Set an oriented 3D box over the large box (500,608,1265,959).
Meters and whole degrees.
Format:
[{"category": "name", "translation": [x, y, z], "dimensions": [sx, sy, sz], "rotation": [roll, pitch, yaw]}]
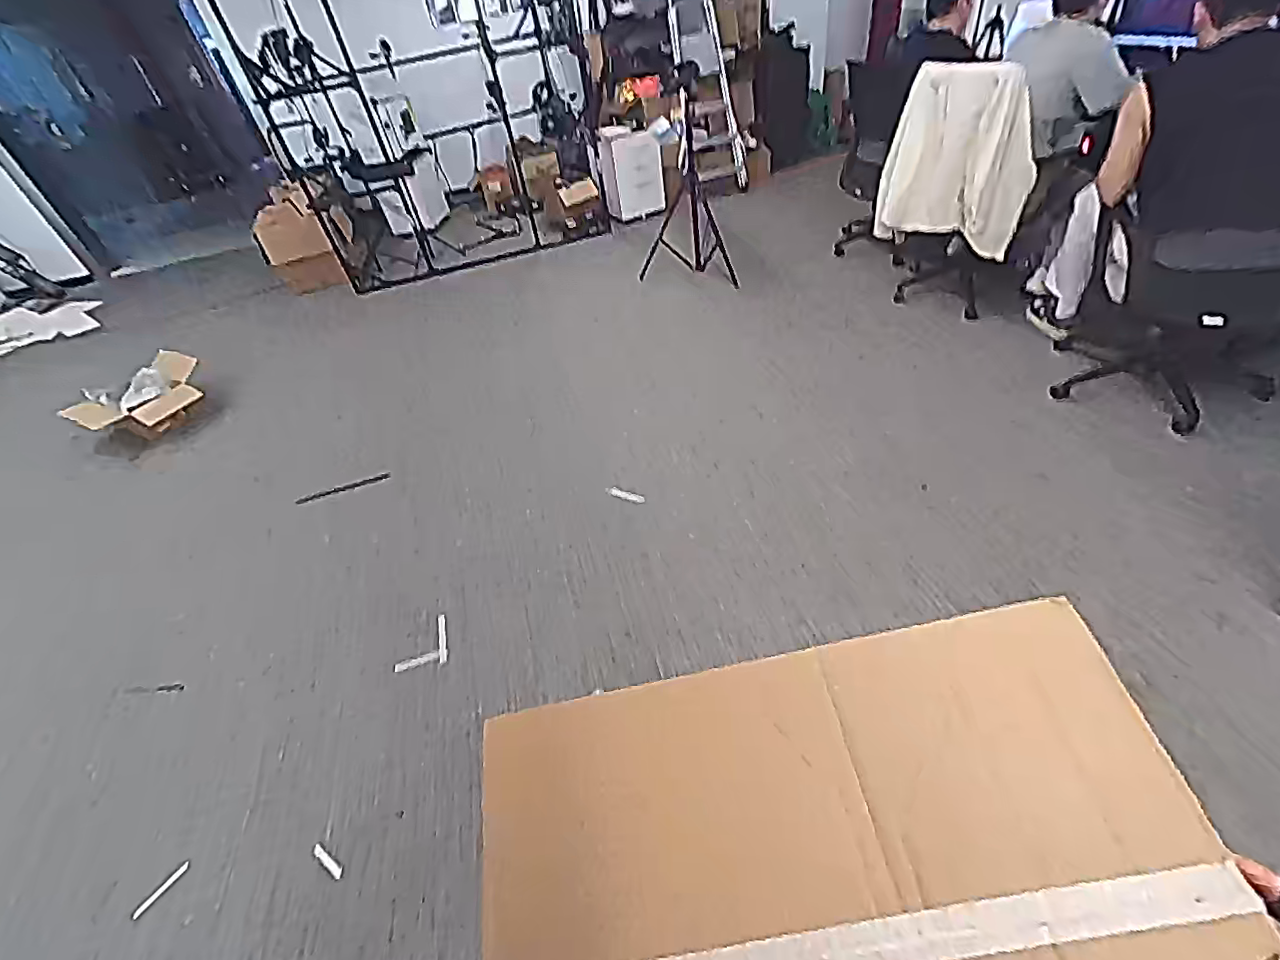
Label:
[{"category": "large box", "translation": [0.142, 0.338, 0.424], "dimensions": [0.408, 0.320, 0.320], "rotation": [-14, 58, 5]}]
